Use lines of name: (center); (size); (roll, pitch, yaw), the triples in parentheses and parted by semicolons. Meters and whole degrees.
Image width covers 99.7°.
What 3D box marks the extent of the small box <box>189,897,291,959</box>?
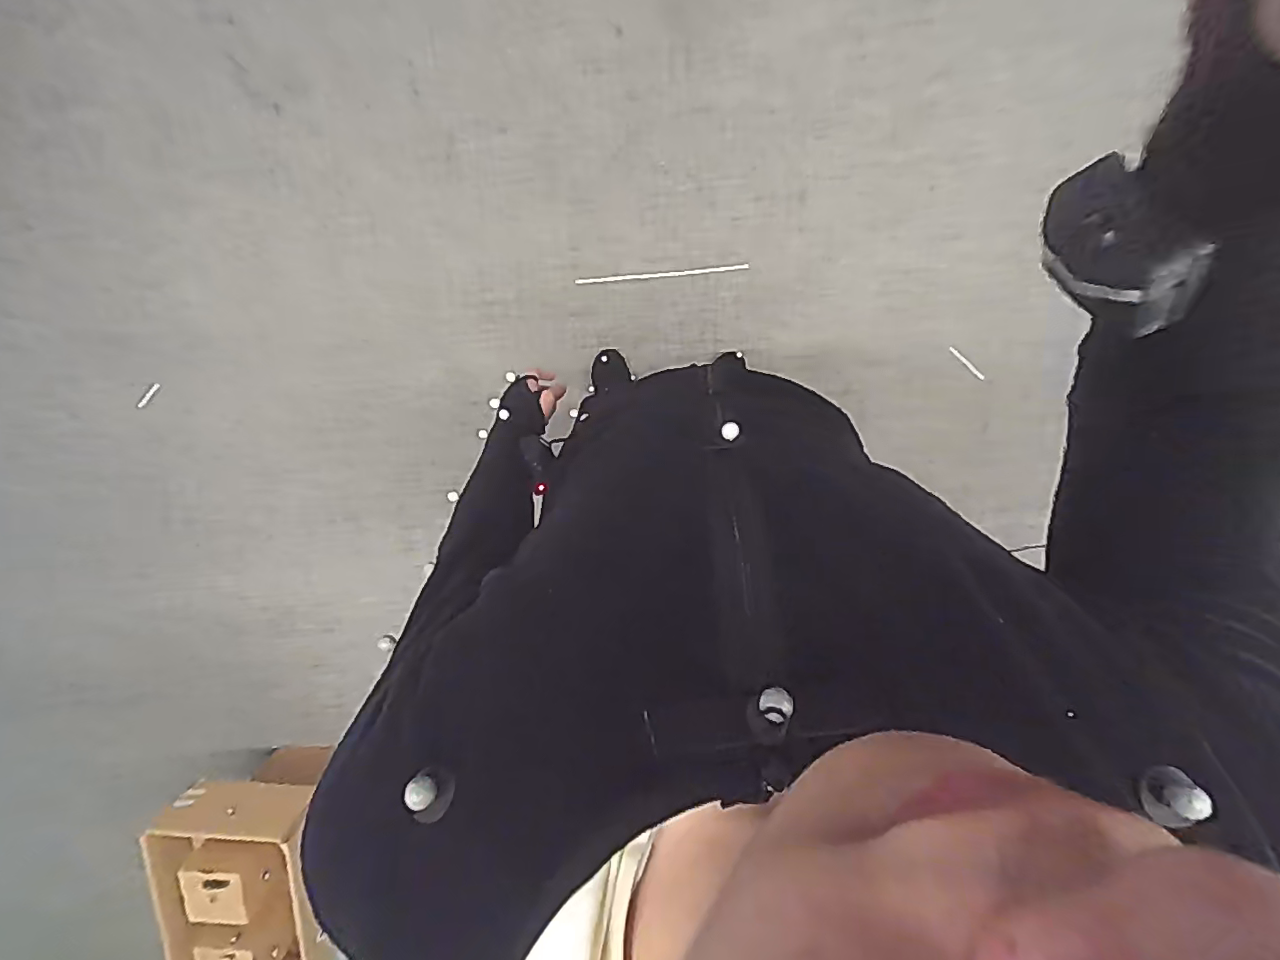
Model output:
small box: (-1.141, 1.357, 1.558); (0.168, 0.176, 0.179); (3, 104, 1)
